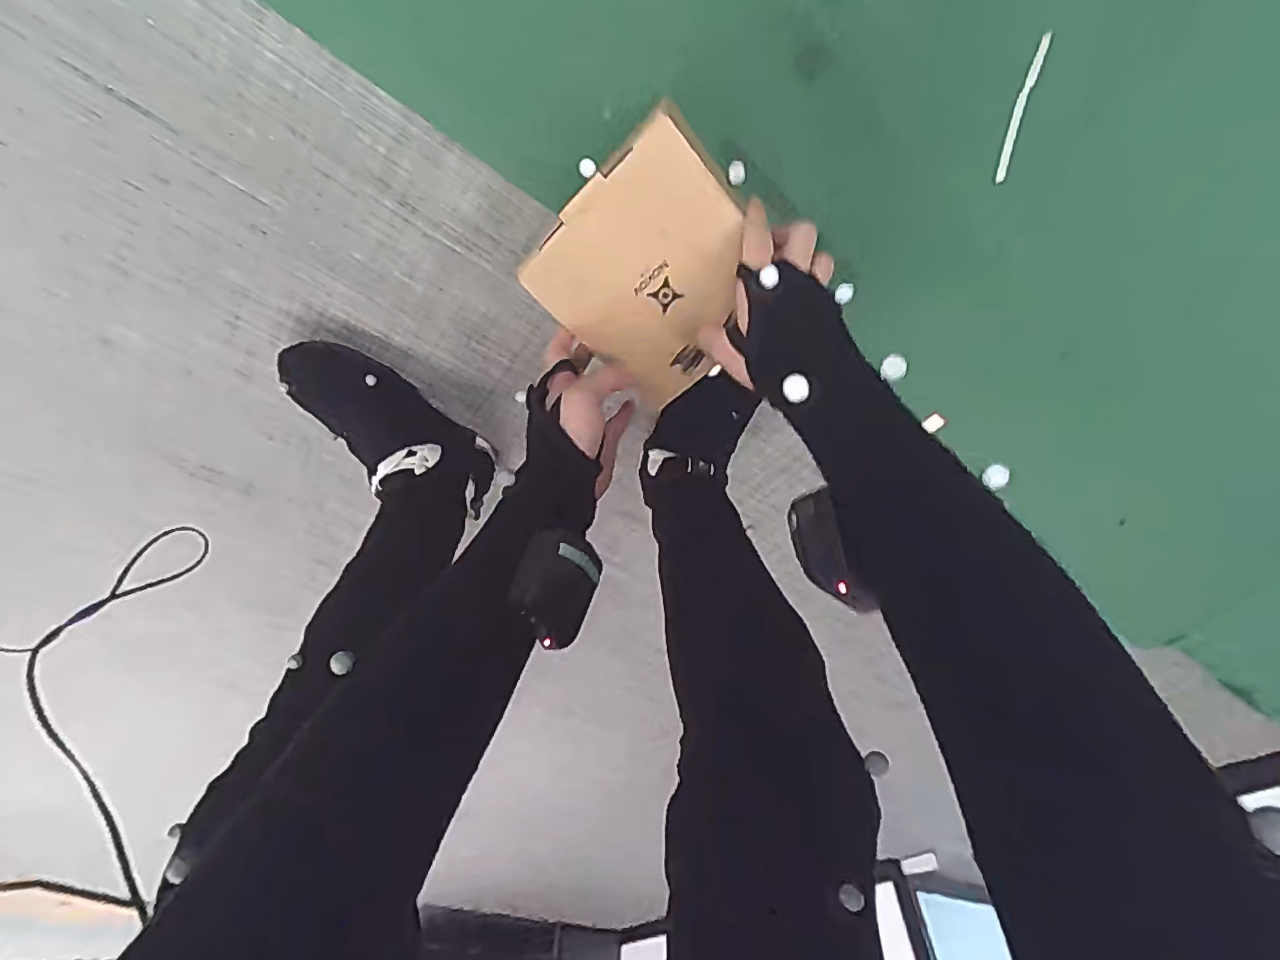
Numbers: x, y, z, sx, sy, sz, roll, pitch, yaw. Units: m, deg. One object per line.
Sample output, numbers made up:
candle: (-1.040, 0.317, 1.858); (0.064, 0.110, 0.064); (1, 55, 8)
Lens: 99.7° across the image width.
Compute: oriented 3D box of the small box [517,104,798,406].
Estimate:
small box: (0.019, -0.208, 0.504); (0.168, 0.176, 0.179); (-33, 117, 25)
